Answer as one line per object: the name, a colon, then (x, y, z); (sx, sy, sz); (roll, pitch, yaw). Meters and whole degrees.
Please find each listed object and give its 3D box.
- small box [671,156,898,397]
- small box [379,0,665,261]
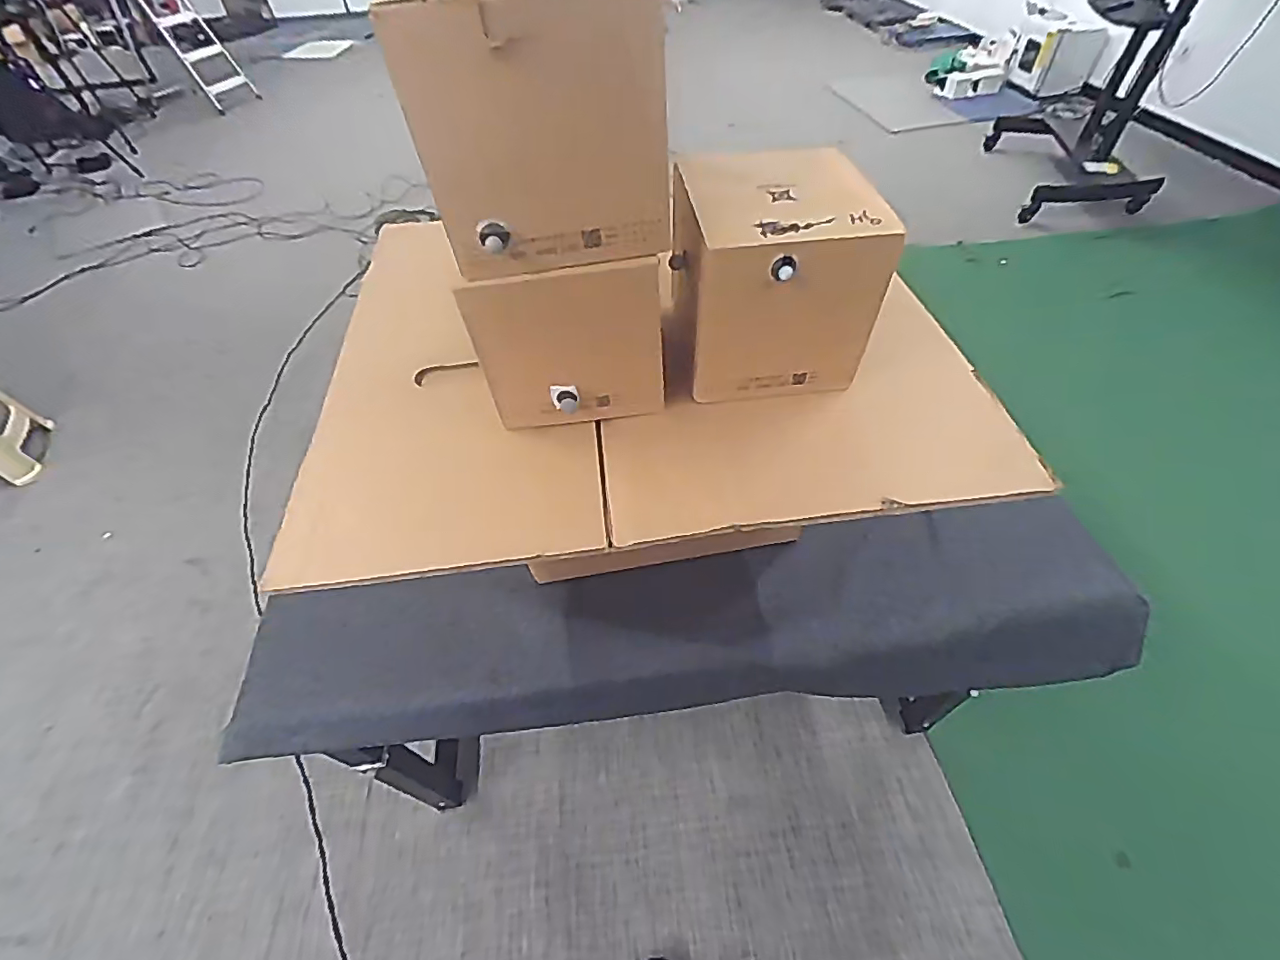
small box: (0.125, -0.207, 0.554); (0.168, 0.176, 0.179); (-5, 50, -3)
small box: (-0.074, -0.289, 0.425); (0.168, 0.176, 0.179); (-8, 50, -2)
